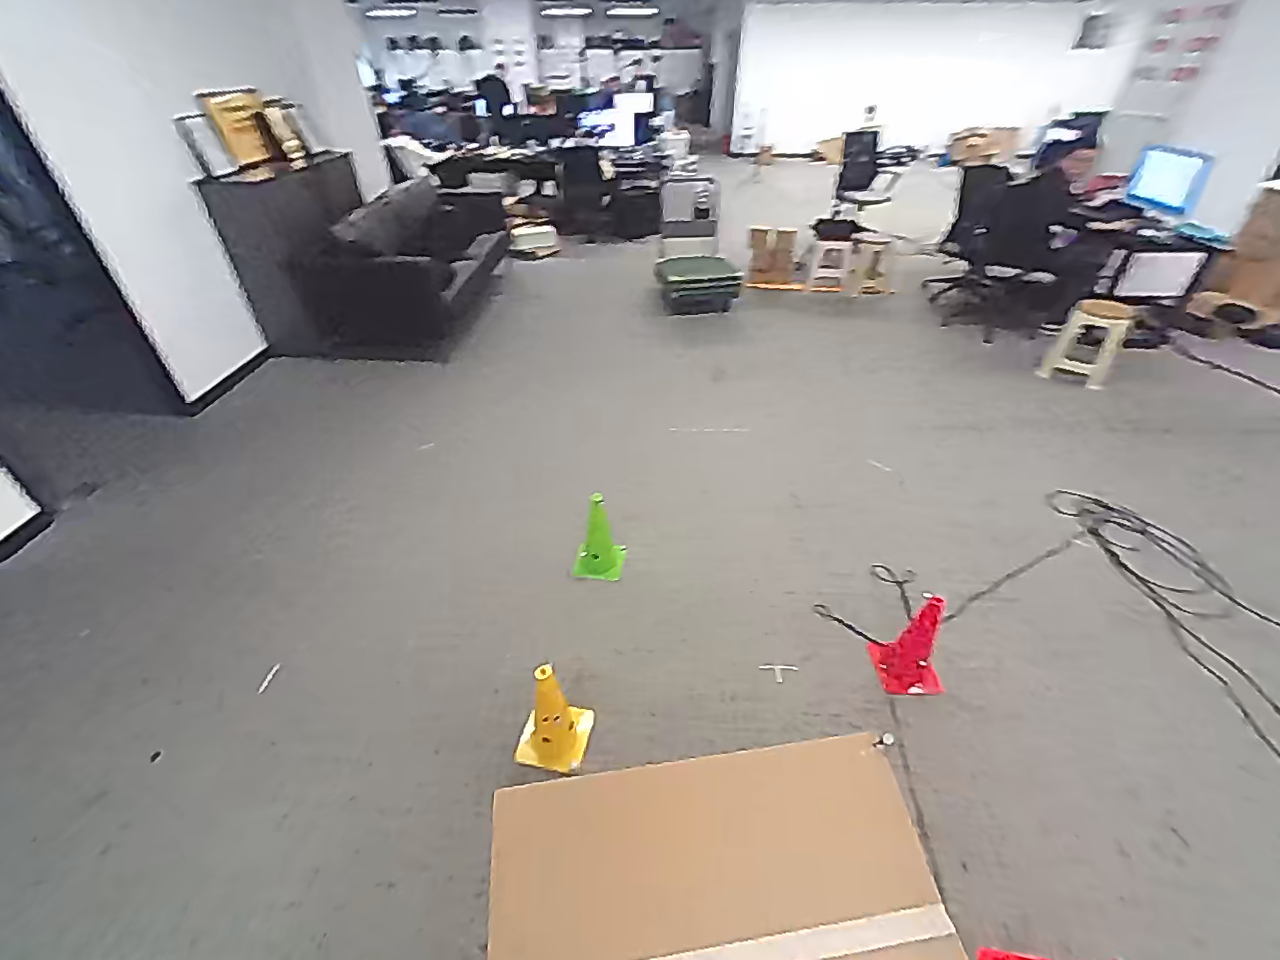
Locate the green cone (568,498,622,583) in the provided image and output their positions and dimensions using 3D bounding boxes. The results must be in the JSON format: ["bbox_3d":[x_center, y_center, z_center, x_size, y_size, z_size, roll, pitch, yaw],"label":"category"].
[{"bbox_3d":[-0.188,0.216,2.161,0.200,0.368,0.202,4,39,6],"label":"green cone"}]

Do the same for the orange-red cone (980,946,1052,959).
[{"bbox_3d":[0.881,1.040,1.089,0.199,0.360,0.198,7,39,6],"label":"orange-red cone"}]

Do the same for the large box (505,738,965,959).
[{"bbox_3d":[0.083,0.512,0.585,0.408,0.320,0.320,-6,53,-5],"label":"large box"}]
